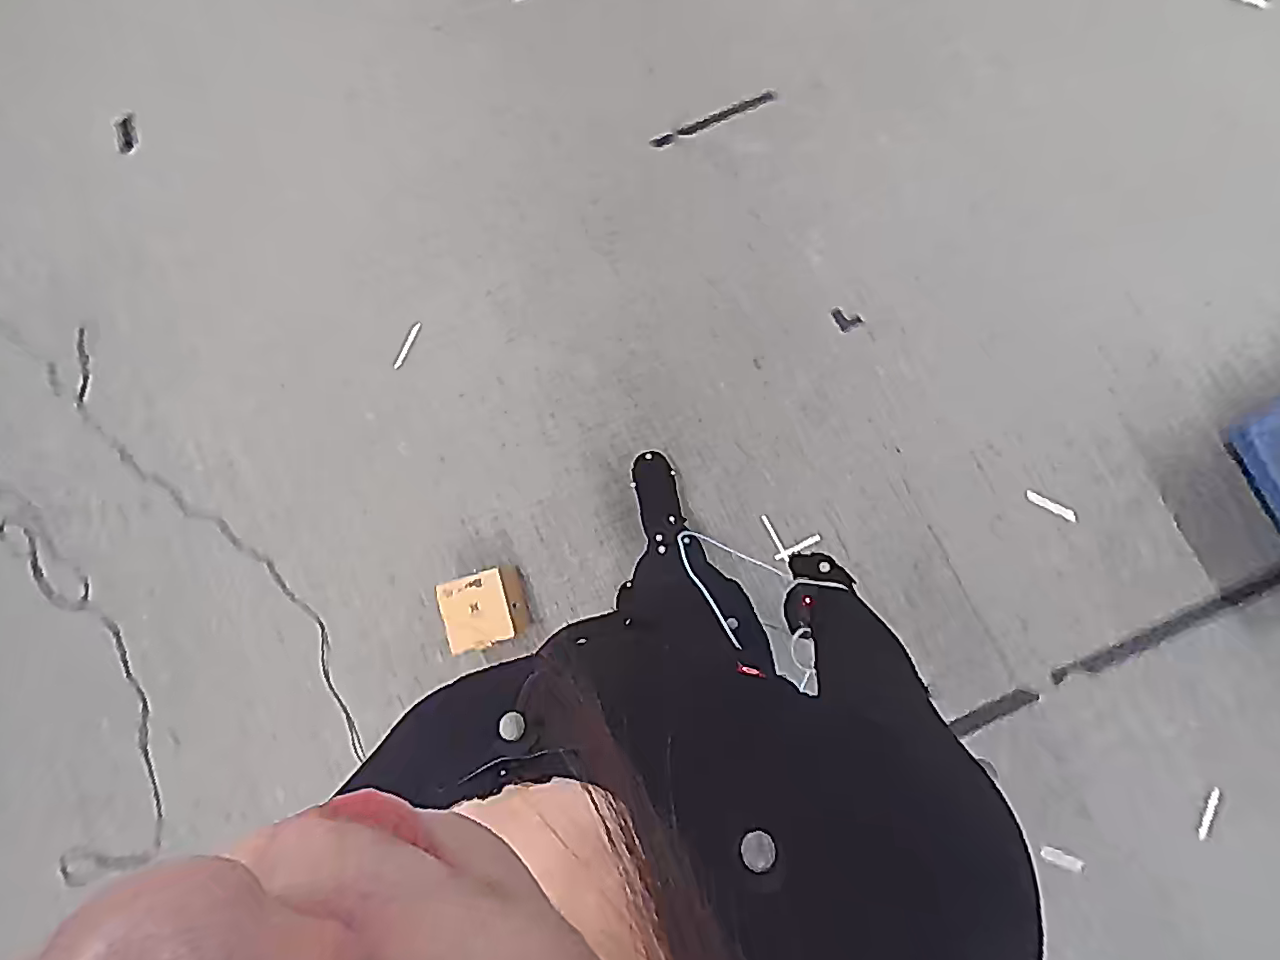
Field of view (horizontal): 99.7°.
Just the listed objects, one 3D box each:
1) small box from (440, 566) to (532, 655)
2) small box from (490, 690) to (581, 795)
[{"bbox_3d":[-0.396,0.334,1.417,0.168,0.176,0.179,-17,84,0],"label":"small box"},{"bbox_3d":[-0.256,0.658,1.380,0.179,0.176,0.168,-19,83,0],"label":"small box"}]
